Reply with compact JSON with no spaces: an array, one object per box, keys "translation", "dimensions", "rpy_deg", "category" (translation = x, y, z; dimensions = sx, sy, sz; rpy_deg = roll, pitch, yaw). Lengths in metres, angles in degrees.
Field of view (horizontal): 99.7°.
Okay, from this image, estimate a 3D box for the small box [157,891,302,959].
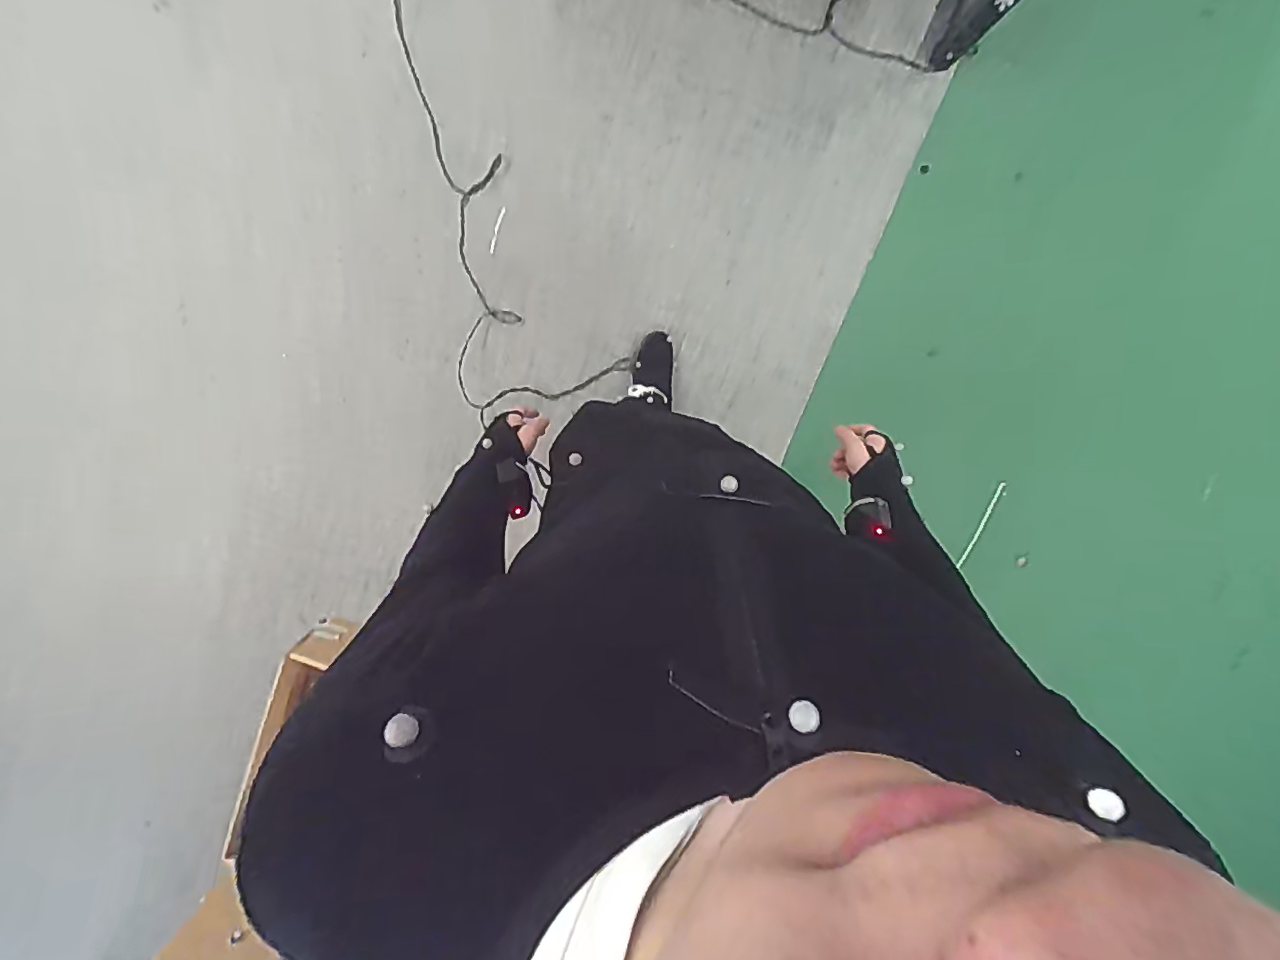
[{"translation":[-0.766,0.900,0.981],"dimensions":[0.179,0.176,0.168],"rpy_deg":[23,101,-6],"category":"small box"}]
